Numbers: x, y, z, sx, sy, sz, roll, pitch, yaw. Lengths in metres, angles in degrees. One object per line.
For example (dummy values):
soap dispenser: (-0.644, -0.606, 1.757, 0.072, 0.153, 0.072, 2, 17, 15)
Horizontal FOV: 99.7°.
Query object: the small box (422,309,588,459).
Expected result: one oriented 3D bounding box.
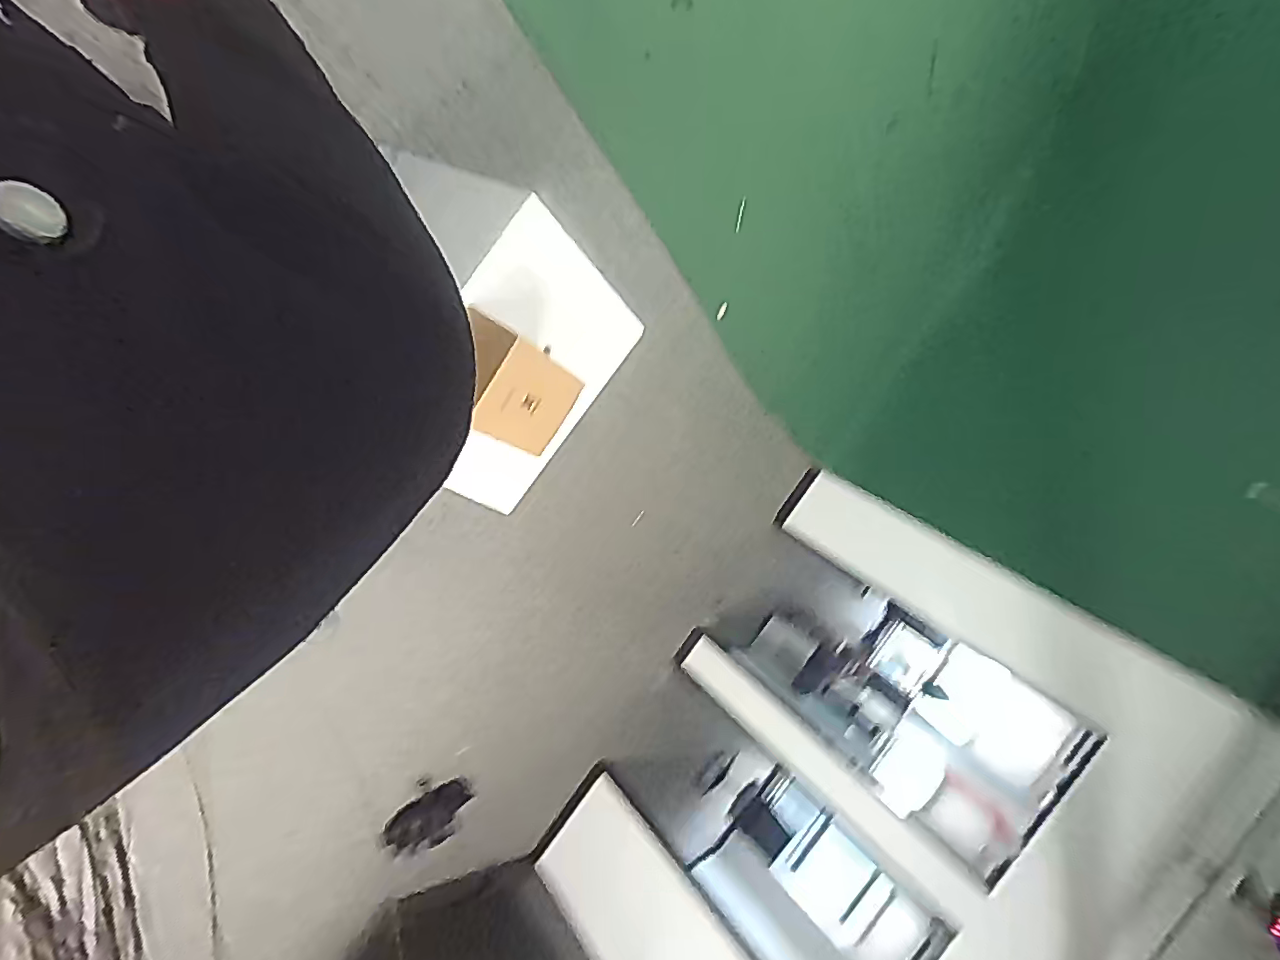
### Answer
small box: (-0.229, -0.164, 0.918, 0.179, 0.176, 0.168, 26, 98, -53)
